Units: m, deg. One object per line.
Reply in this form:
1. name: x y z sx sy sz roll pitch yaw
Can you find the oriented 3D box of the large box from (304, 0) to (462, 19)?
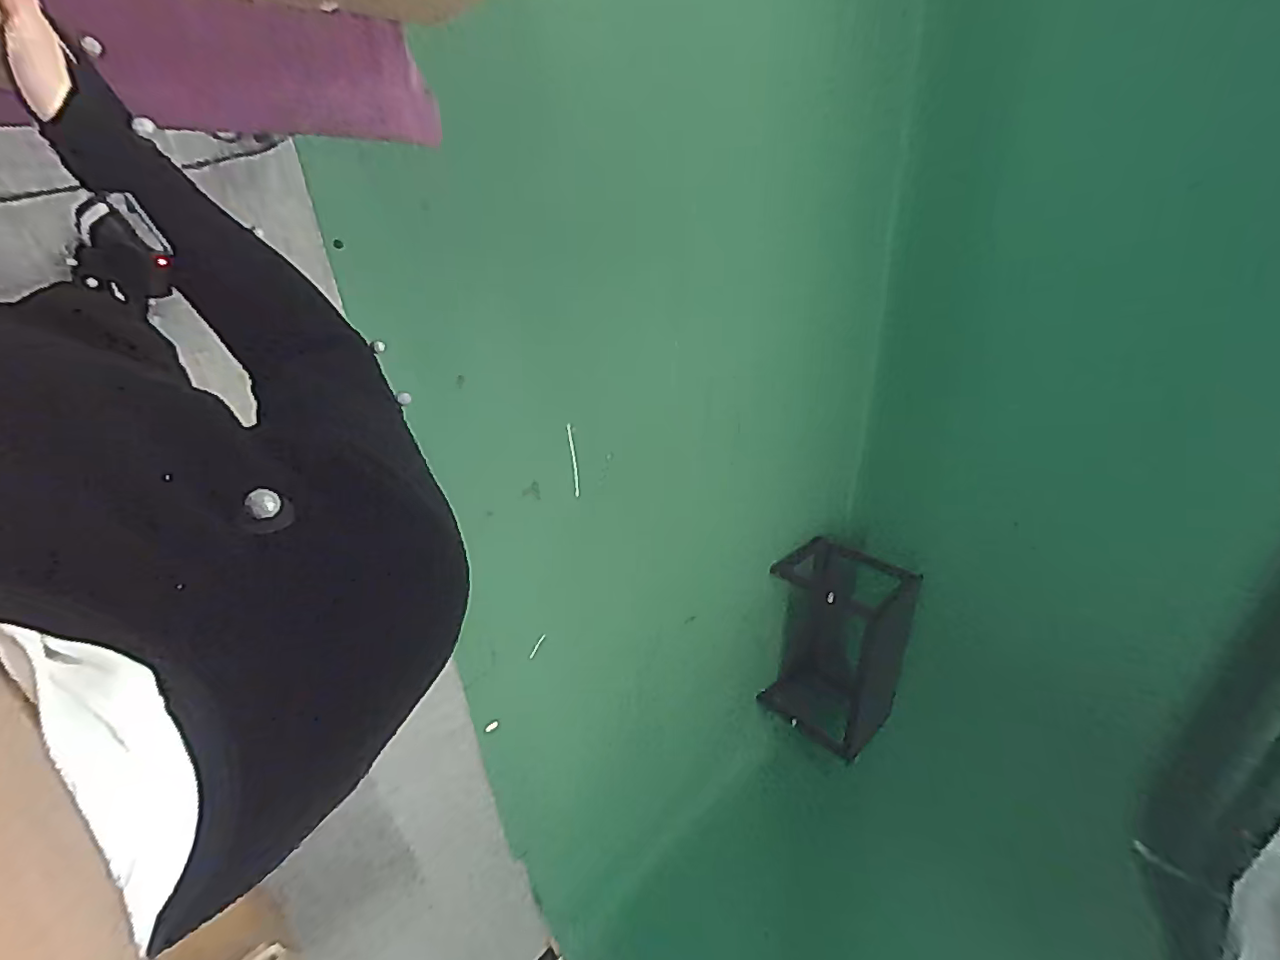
1. large box: -0.315 -0.729 0.490 0.320 0.320 0.408 -25 124 -35
